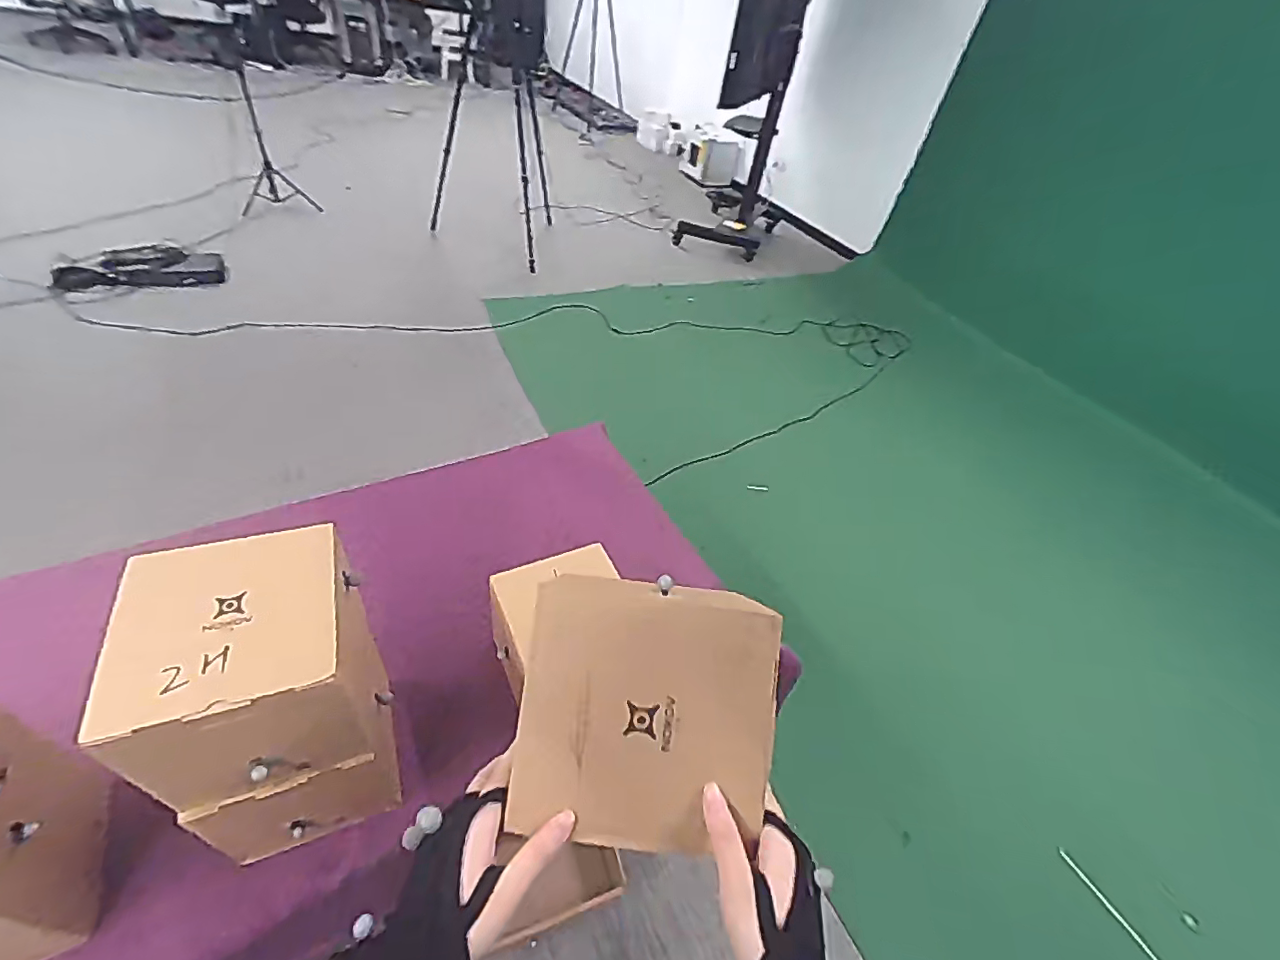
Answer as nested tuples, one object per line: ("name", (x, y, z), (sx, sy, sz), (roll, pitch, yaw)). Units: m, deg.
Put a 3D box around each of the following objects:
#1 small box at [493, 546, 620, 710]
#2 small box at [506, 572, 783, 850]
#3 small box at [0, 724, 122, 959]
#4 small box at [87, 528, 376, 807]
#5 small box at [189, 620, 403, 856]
("small box", (-0.098, 0.228, 0.760), (0.168, 0.176, 0.179), (-15, 49, -25))
("small box", (0.003, 0.170, 0.454), (0.179, 0.176, 0.168), (7, 82, 0))
("small box", (-0.642, 0.368, 0.501), (0.179, 0.176, 0.168), (-15, 50, -25))
("small box", (-0.361, 0.176, 0.521), (0.168, 0.176, 0.179), (-10, 48, -20))
("small box", (-0.383, 0.297, 0.632), (0.168, 0.176, 0.179), (-11, 49, -22))
